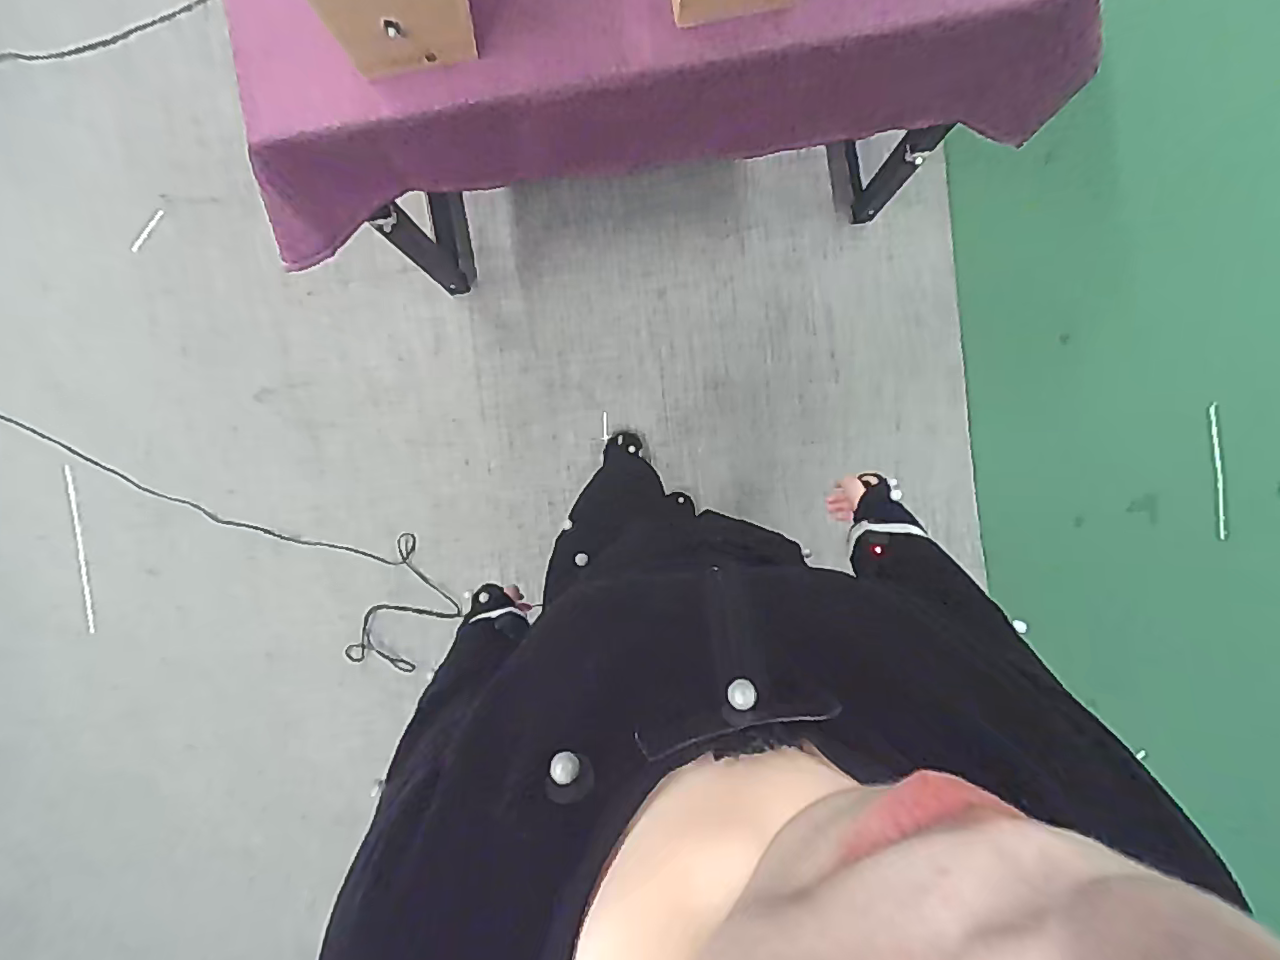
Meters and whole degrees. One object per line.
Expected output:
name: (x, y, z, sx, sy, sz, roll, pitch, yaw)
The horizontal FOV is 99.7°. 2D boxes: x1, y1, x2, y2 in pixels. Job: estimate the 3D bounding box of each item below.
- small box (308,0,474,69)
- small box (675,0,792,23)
small box: (-0.322, -0.660, 0.680, 0.168, 0.176, 0.179, -9, 90, 1)
small box: (0.121, -0.721, 0.671, 0.179, 0.176, 0.168, -10, 91, 2)
